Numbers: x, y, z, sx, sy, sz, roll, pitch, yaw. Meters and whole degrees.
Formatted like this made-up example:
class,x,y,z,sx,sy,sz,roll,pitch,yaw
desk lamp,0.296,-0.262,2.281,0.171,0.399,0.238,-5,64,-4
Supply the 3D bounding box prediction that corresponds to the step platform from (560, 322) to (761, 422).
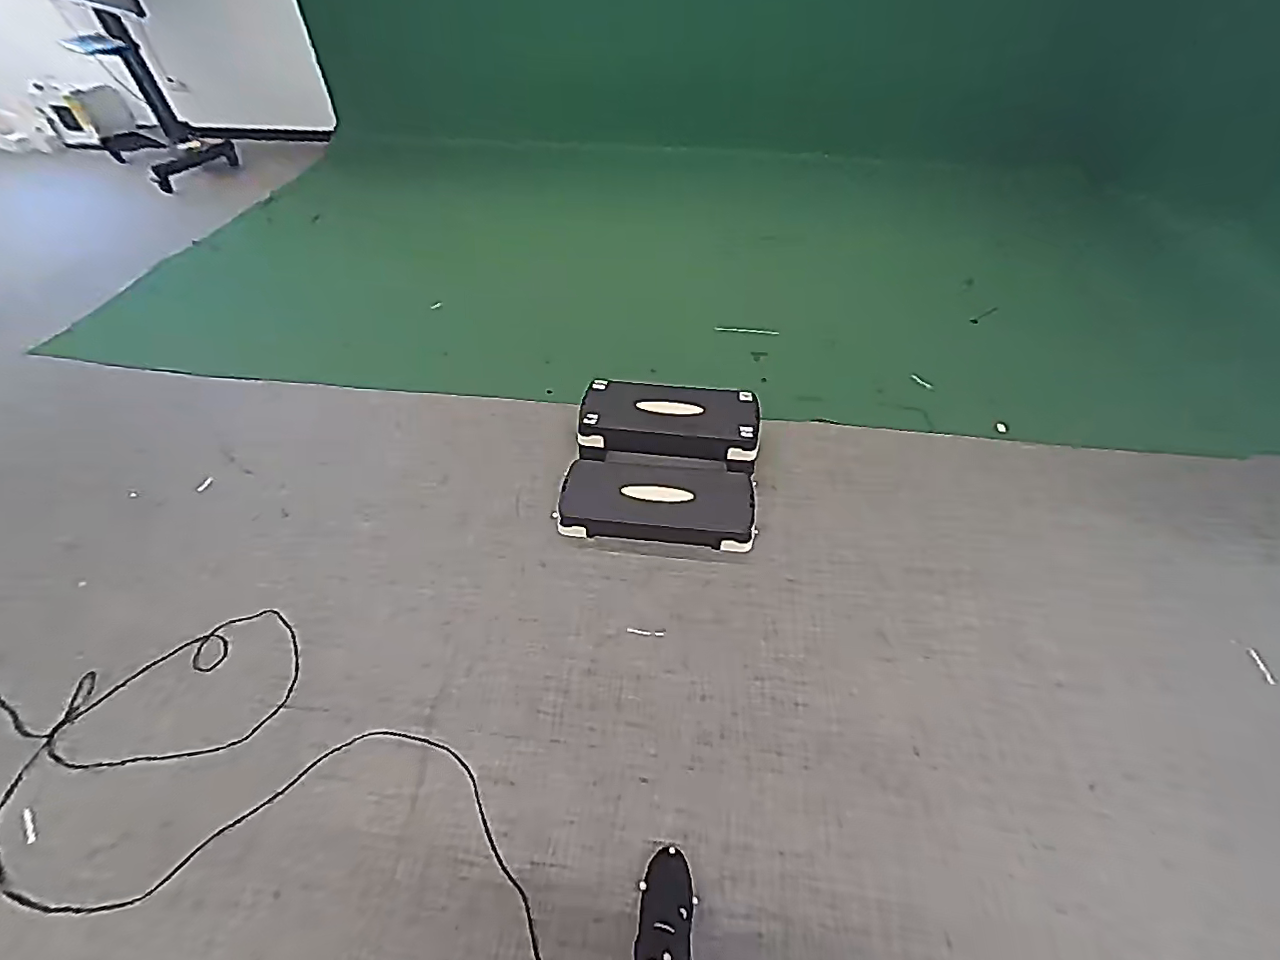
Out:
class,x,y,z,sx,sy,sz,roll,pitch,yaw
step platform,0.072,-0.385,1.925,0.684,0.204,0.286,5,49,5
